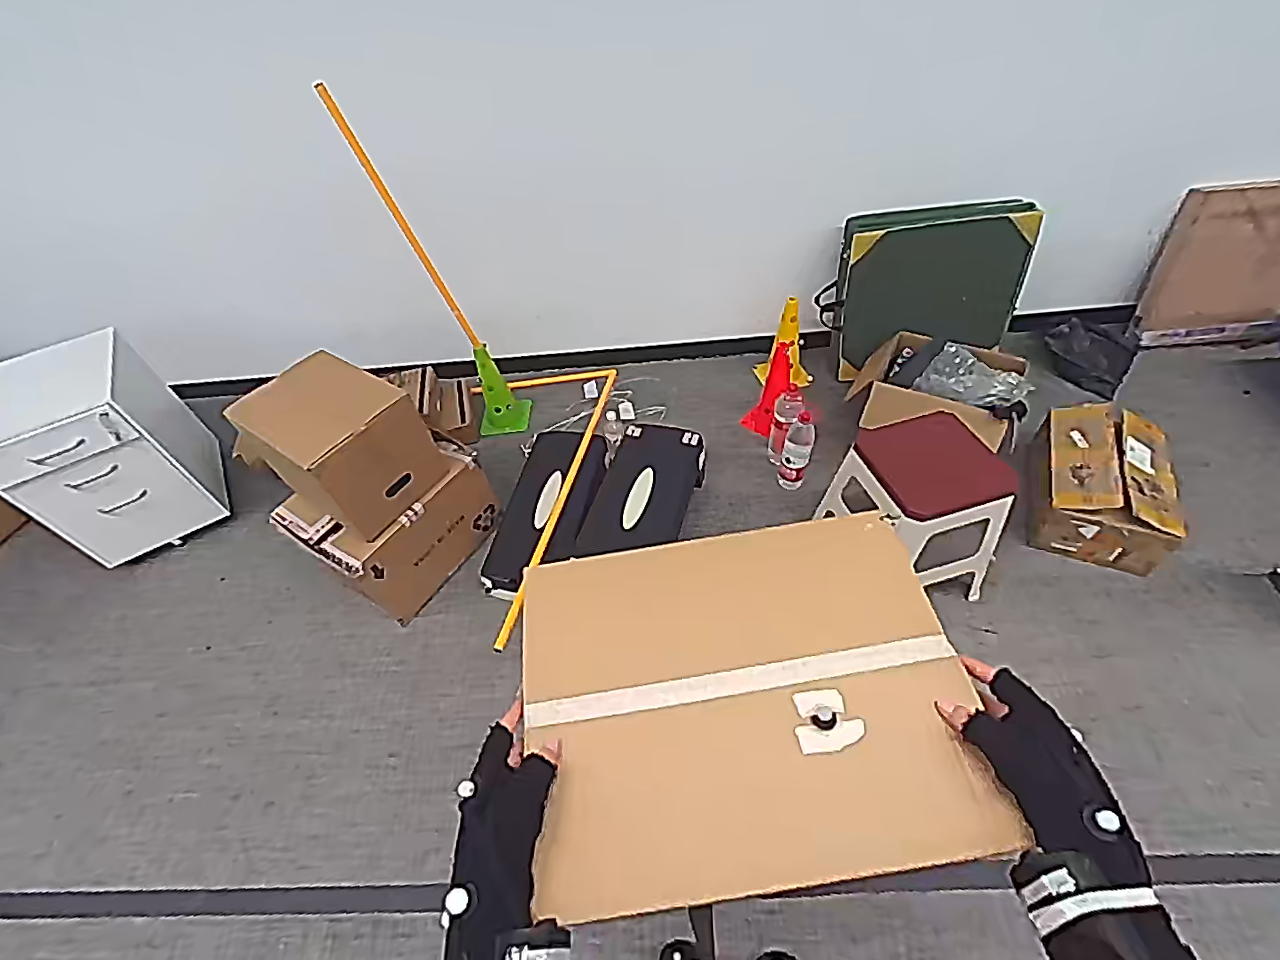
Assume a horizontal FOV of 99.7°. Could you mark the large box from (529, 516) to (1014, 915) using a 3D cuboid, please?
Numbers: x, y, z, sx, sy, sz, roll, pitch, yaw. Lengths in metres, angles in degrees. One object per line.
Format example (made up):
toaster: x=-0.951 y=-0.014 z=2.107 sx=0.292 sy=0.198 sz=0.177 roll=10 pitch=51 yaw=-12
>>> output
large box: x=0.103 y=0.283 z=0.642 sx=0.408 sy=0.320 sz=0.320 roll=-9 pitch=54 yaw=0
